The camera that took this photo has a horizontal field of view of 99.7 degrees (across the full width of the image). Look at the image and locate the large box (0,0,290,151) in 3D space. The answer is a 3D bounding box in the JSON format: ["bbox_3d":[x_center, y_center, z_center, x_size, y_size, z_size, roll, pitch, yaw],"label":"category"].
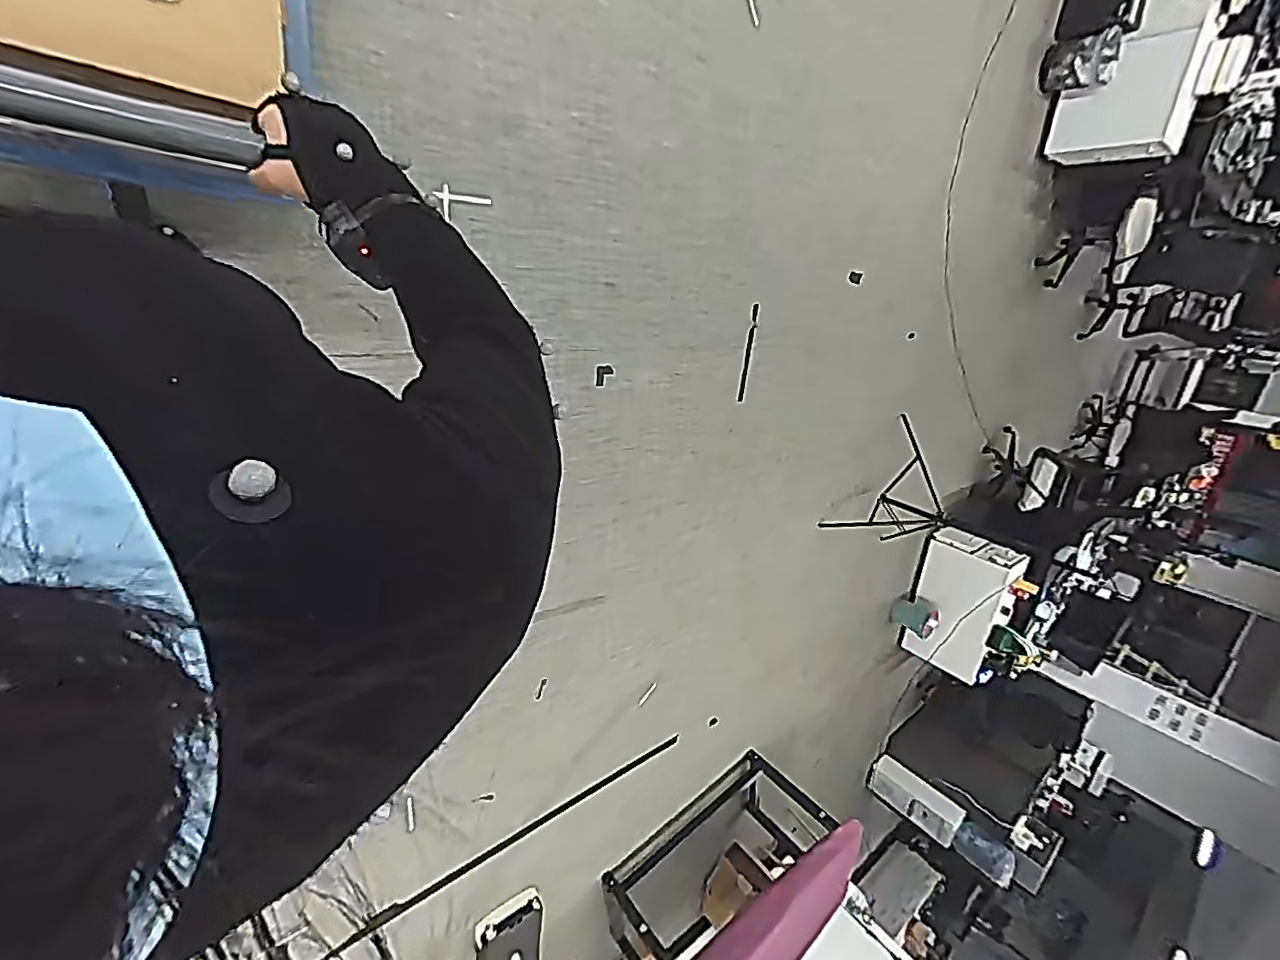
[{"bbox_3d":[-0.724,-0.660,0.692,0.408,0.320,0.320,-9,114,-40],"label":"large box"}]
